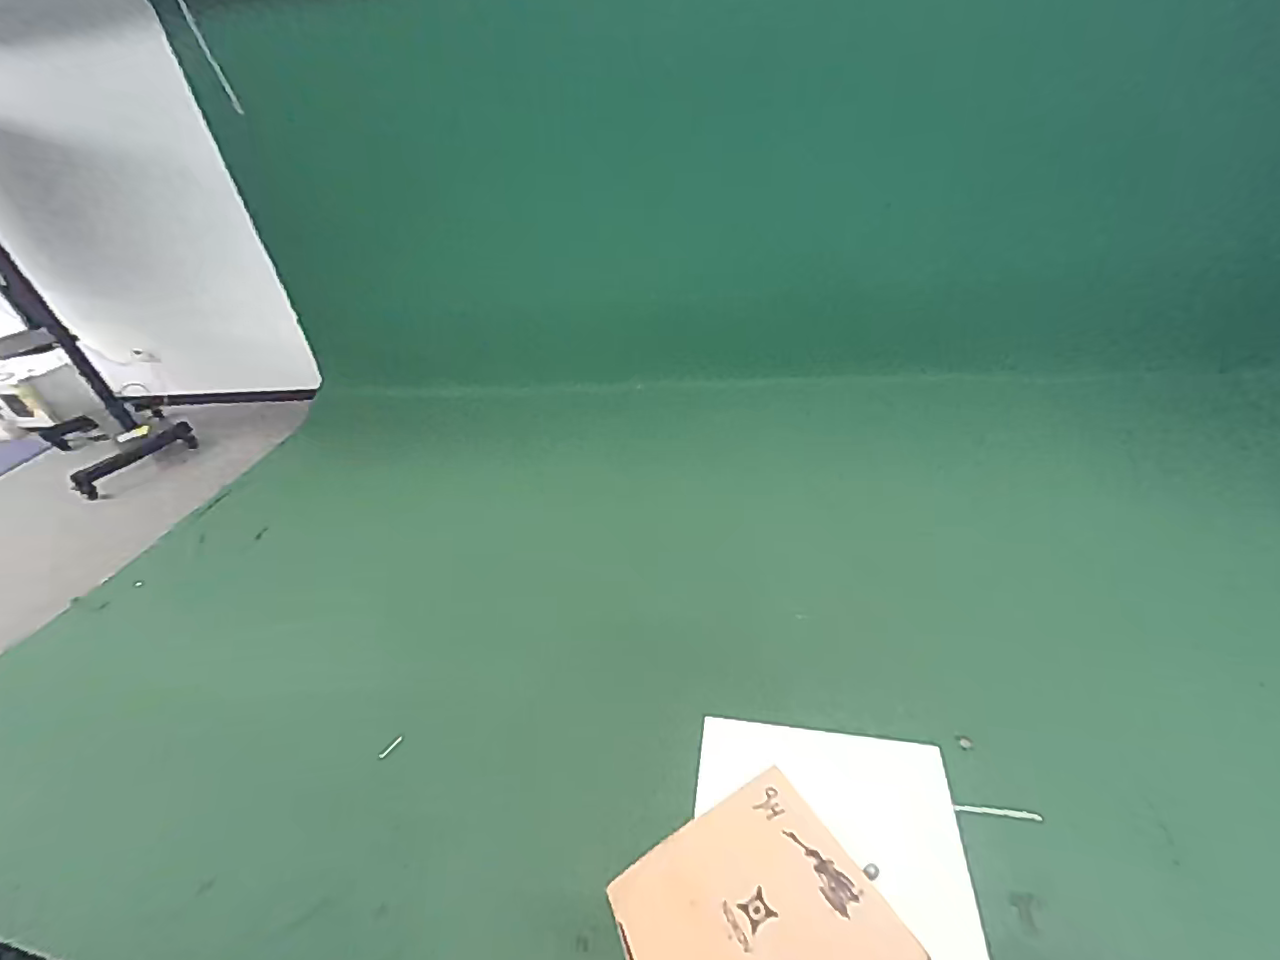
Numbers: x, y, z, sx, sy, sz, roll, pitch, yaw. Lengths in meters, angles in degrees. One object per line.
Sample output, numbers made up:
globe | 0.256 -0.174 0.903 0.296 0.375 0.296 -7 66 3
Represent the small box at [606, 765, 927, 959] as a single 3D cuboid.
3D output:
small box | 0.104 0.375 0.411 0.179 0.176 0.168 -30 26 -12
